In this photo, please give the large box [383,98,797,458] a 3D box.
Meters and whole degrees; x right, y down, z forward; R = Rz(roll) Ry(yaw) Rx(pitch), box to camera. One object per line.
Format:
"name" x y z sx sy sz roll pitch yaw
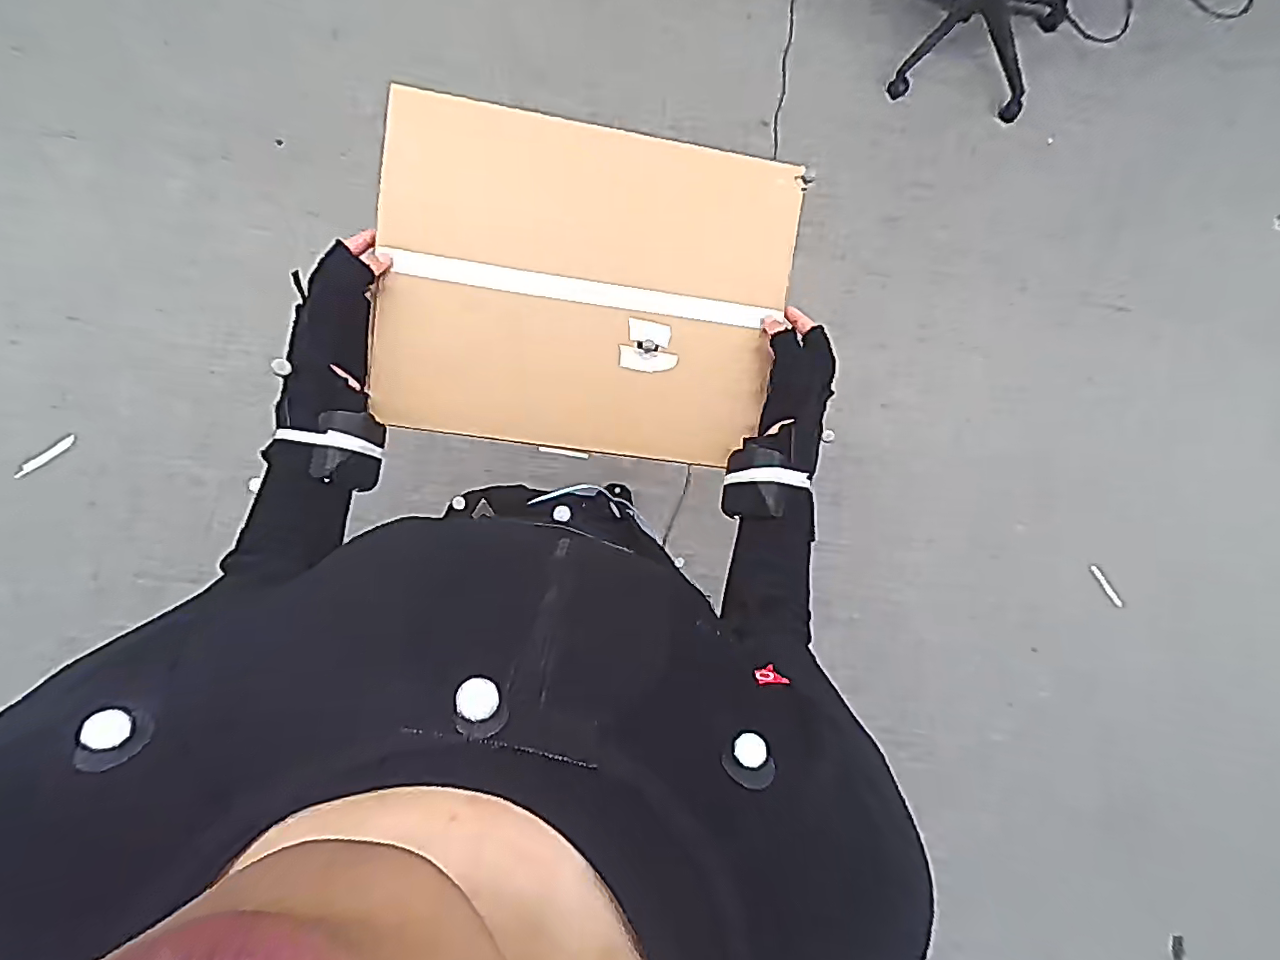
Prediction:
"large box" -0.066 -0.212 0.701 0.408 0.320 0.320 7 97 -8
